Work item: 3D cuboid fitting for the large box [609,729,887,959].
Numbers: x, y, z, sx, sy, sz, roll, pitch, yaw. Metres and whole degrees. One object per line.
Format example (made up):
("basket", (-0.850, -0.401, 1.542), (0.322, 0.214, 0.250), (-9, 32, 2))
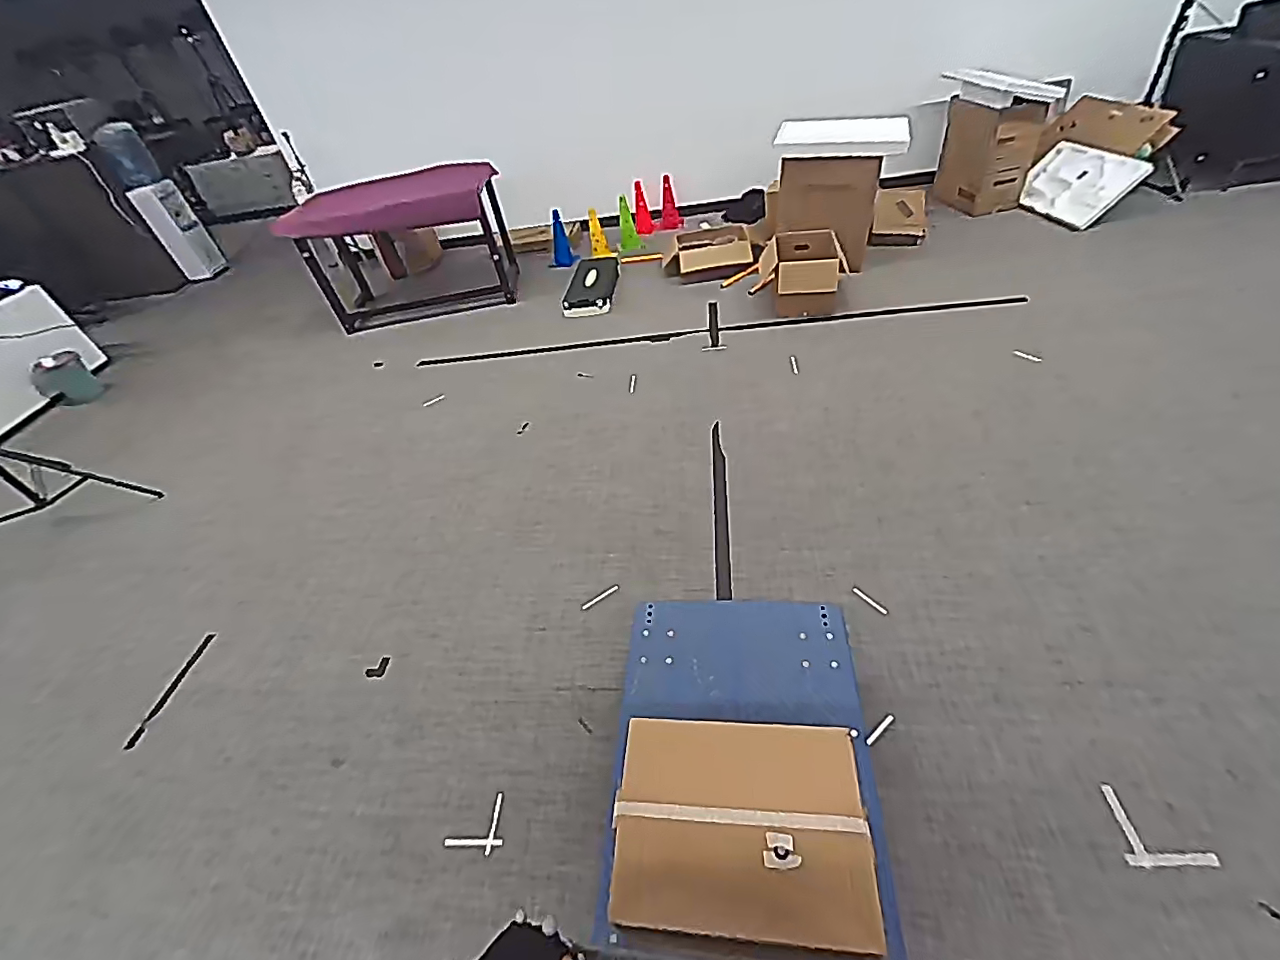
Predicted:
("large box", (0.179, 0.675, 0.980), (0.408, 0.320, 0.320), (-2, 44, 9))
